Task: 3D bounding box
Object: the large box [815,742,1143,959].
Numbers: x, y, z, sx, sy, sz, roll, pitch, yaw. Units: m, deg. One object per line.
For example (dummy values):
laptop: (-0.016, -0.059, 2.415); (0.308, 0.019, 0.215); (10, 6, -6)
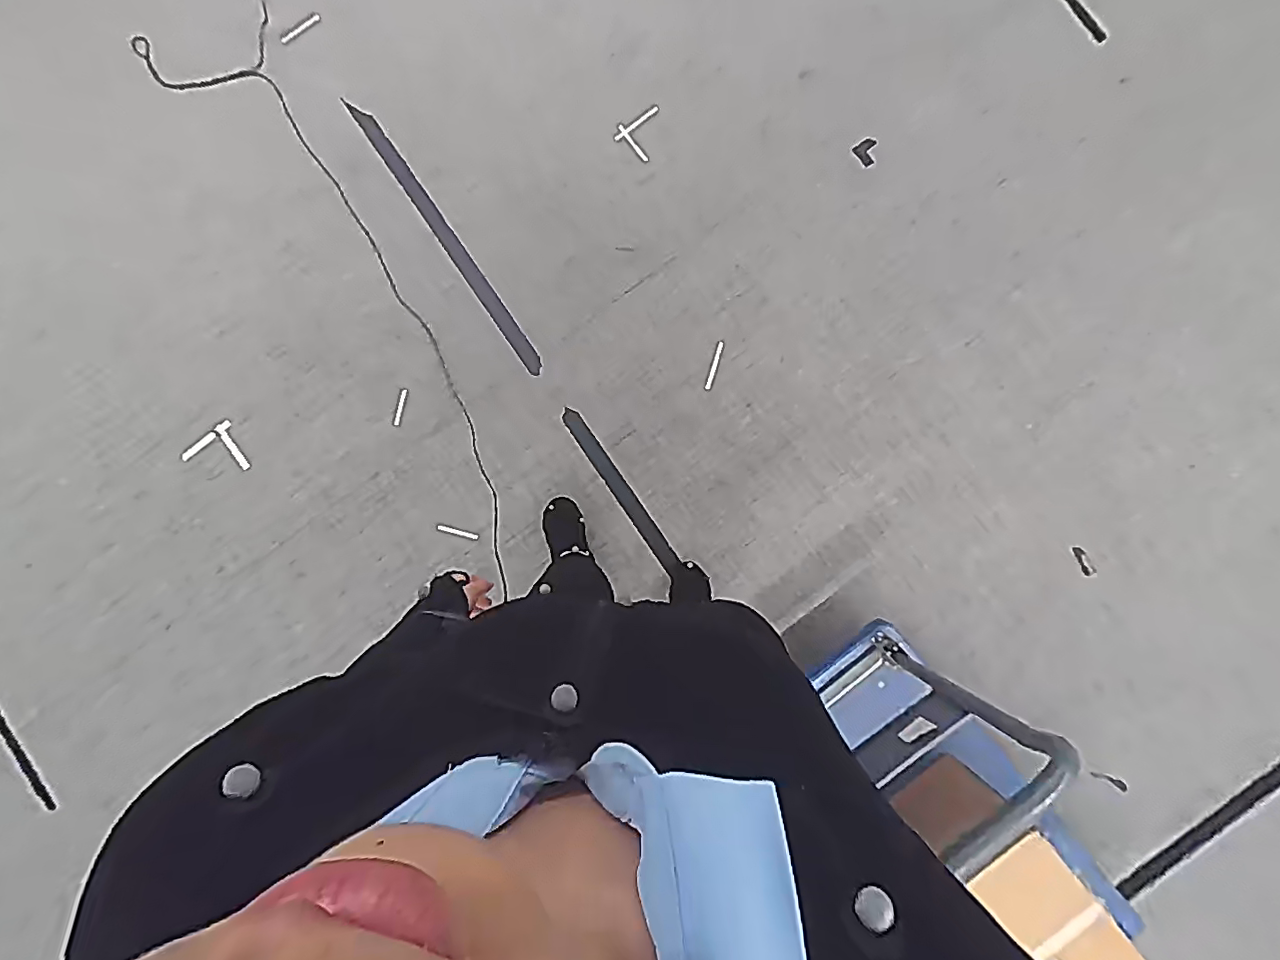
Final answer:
large box: (0.641, 0.835, 1.101); (0.408, 0.320, 0.320); (-39, 86, -1)
